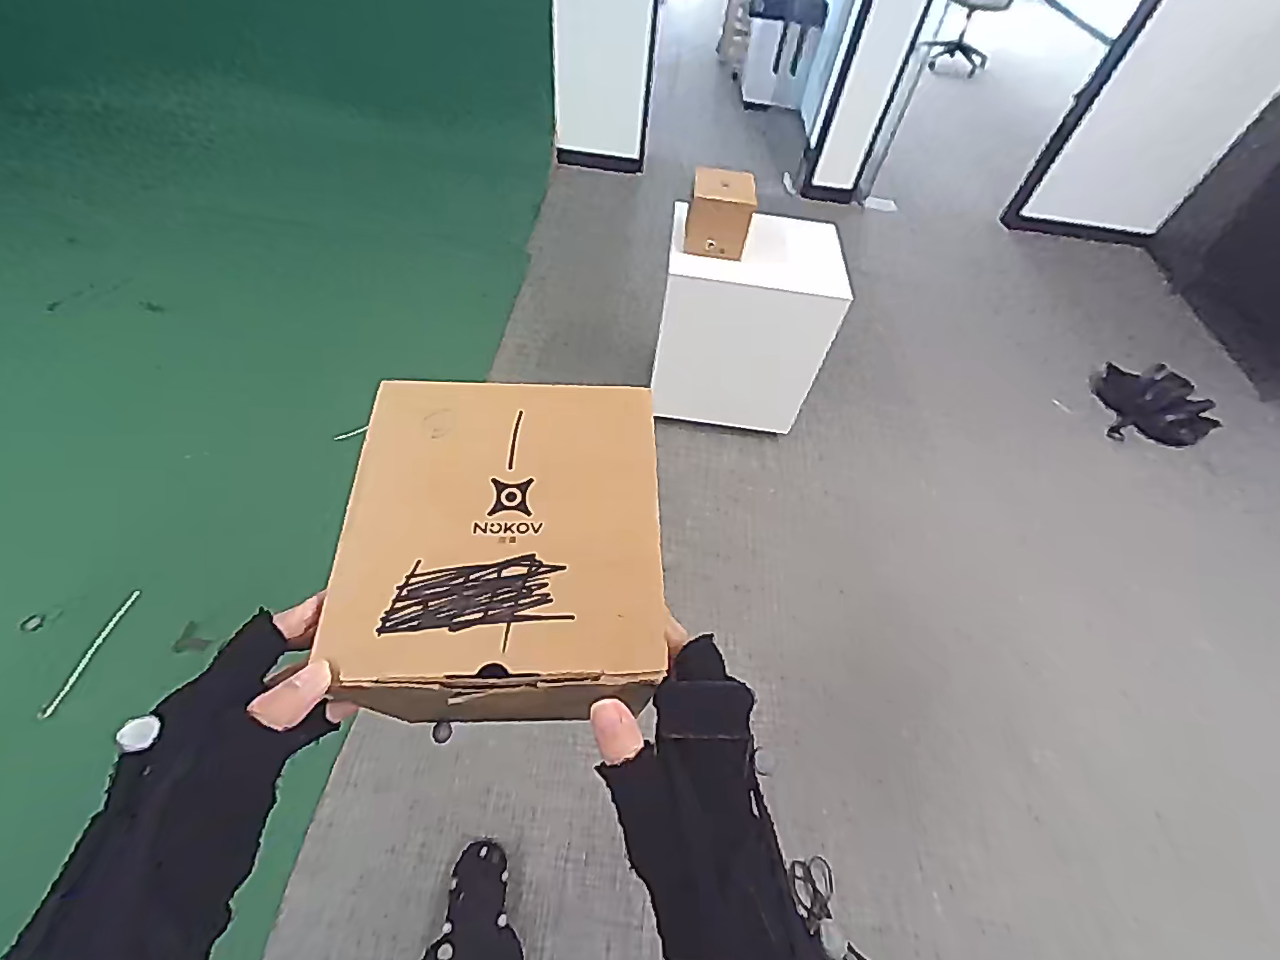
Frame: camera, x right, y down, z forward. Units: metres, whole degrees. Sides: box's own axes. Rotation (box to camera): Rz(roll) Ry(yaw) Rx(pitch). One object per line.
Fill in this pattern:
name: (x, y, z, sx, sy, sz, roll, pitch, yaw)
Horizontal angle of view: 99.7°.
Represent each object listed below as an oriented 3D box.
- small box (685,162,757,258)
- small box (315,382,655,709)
small box: (0.219, -0.748, 1.503, 0.168, 0.176, 0.179, 5, 55, -2)
small box: (-0.078, 0.055, 0.367, 0.168, 0.176, 0.179, 0, 60, -4)
